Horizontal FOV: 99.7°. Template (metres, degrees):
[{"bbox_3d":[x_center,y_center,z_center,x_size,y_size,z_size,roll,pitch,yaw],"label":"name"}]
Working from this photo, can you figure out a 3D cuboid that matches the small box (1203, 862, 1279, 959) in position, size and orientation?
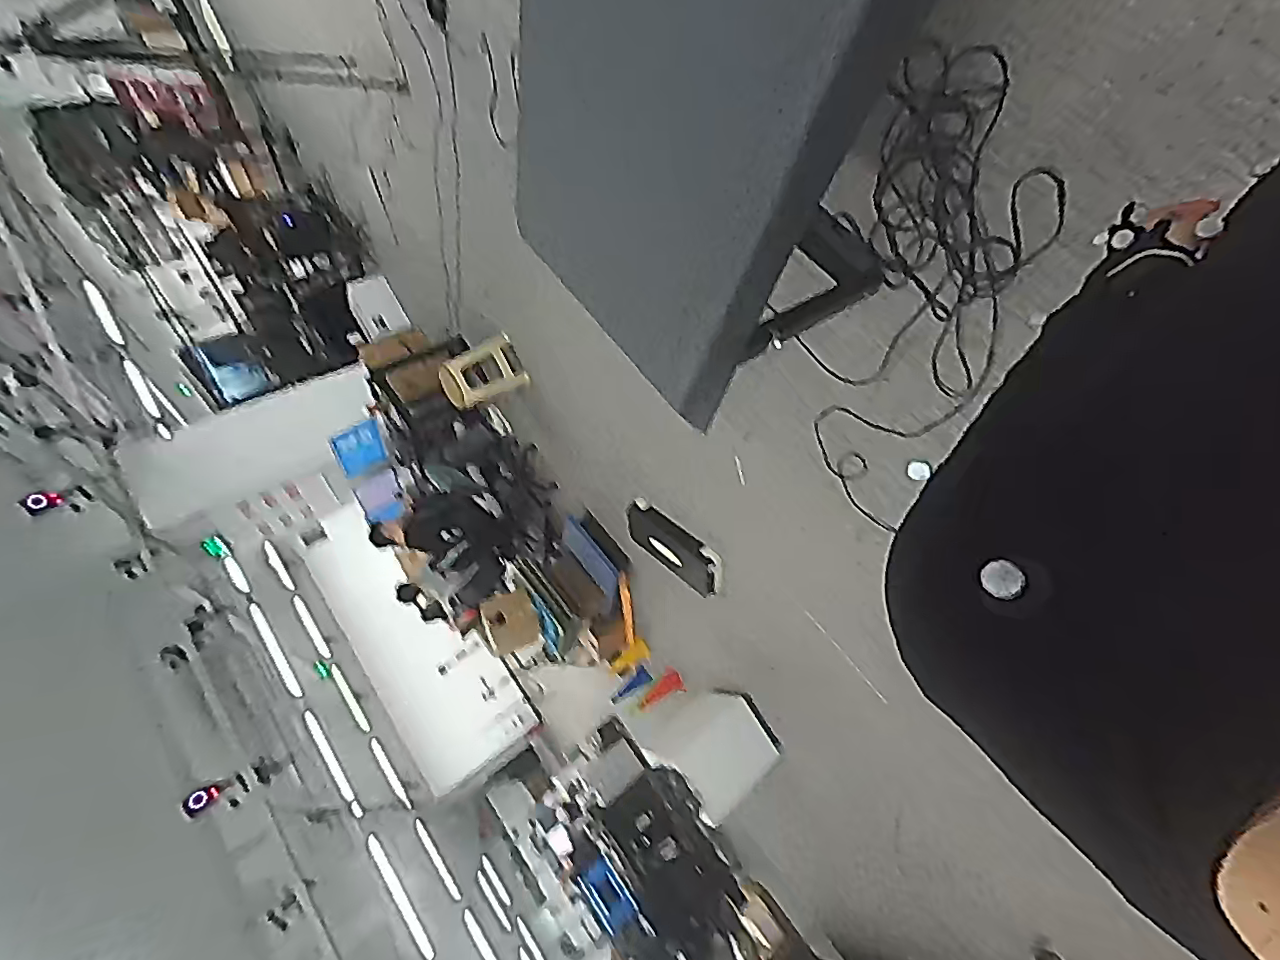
[{"bbox_3d":[1.573,1.127,1.363,0.168,0.176,0.179,19,133,50],"label":"small box"}]
